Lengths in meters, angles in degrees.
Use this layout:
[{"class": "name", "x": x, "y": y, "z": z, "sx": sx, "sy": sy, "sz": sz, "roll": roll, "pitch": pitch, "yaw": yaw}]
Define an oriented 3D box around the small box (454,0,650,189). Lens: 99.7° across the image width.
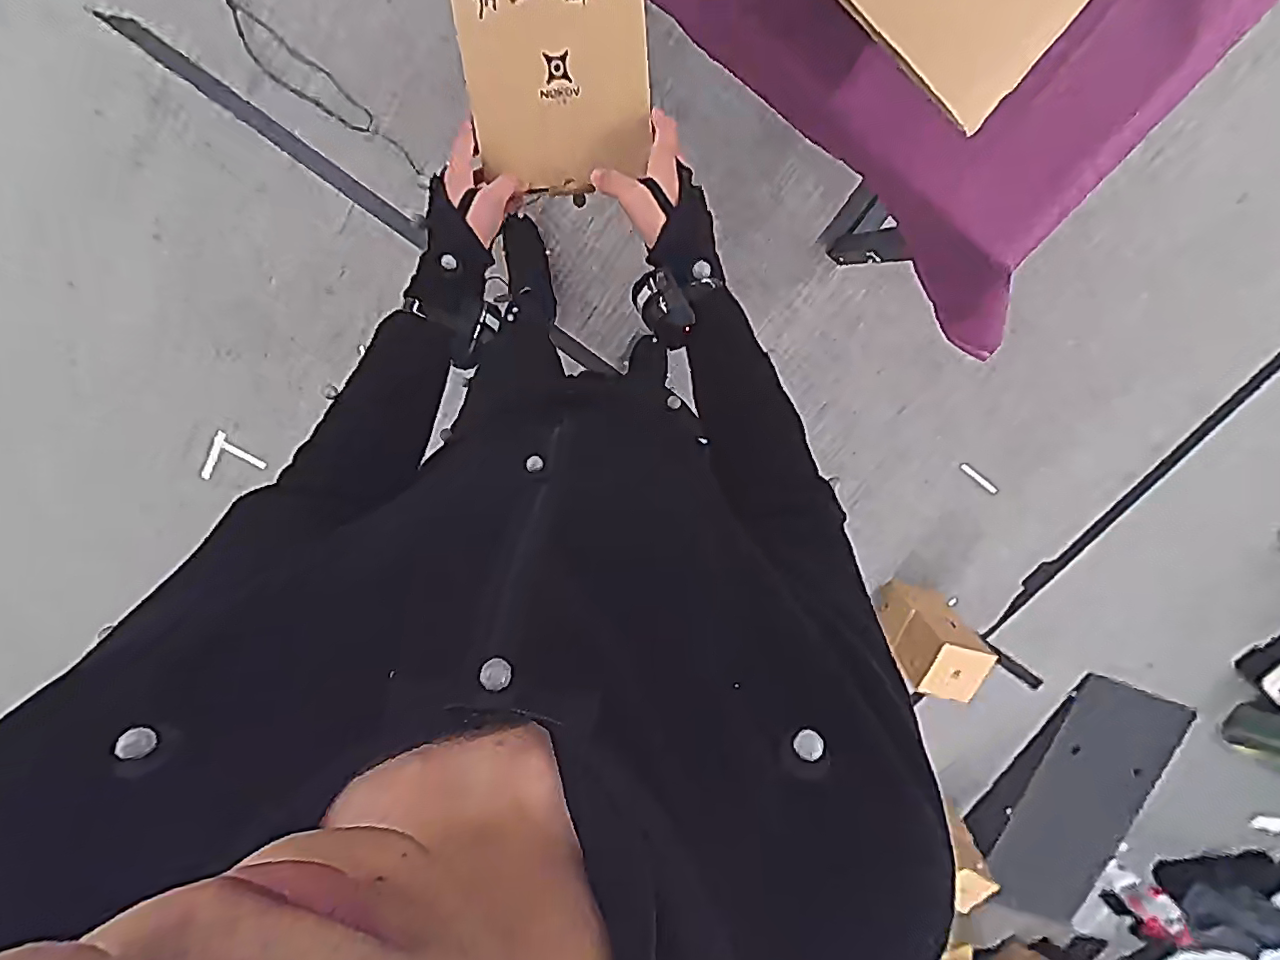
[{"class": "small box", "x": -0.075, "y": -0.406, "z": 0.554, "sx": 0.168, "sy": 0.176, "sz": 0.179, "roll": -4, "pitch": 119, "yaw": 1}]
